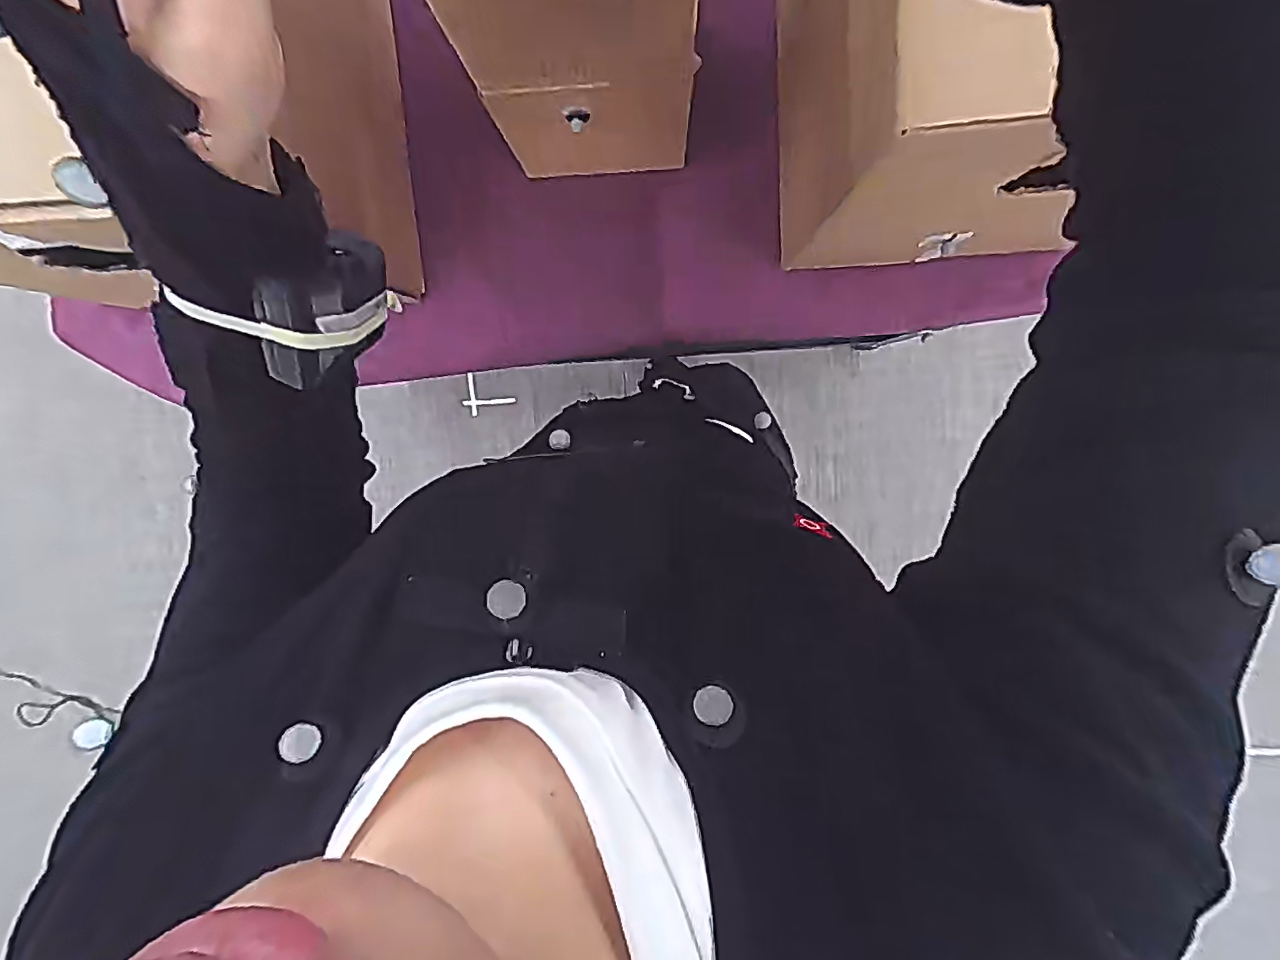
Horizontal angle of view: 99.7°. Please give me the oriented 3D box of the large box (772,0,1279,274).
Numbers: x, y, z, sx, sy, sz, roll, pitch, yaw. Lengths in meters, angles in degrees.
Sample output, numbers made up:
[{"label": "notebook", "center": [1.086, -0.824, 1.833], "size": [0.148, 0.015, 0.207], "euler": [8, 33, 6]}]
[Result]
[{"label": "large box", "center": [0.286, -0.414, 0.416], "size": [0.320, 0.320, 0.408], "euler": [-4, 96, 2]}]
